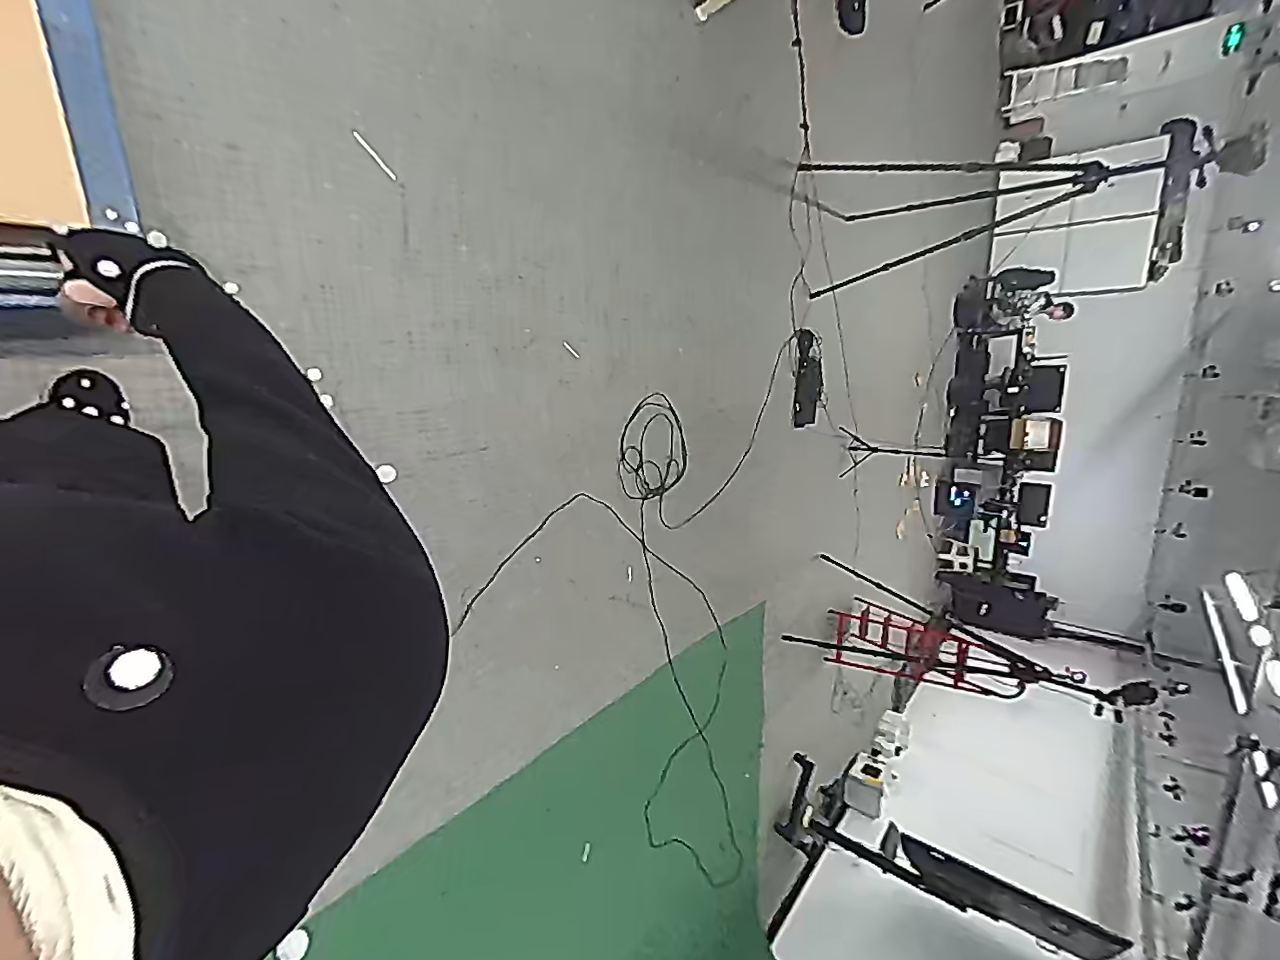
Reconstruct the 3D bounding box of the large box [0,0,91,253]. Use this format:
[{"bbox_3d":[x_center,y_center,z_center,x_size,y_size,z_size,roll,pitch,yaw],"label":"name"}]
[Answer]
[{"bbox_3d":[-1.038,-0.555,0.742,0.320,0.320,0.408,-18,110,-47],"label":"large box"}]
